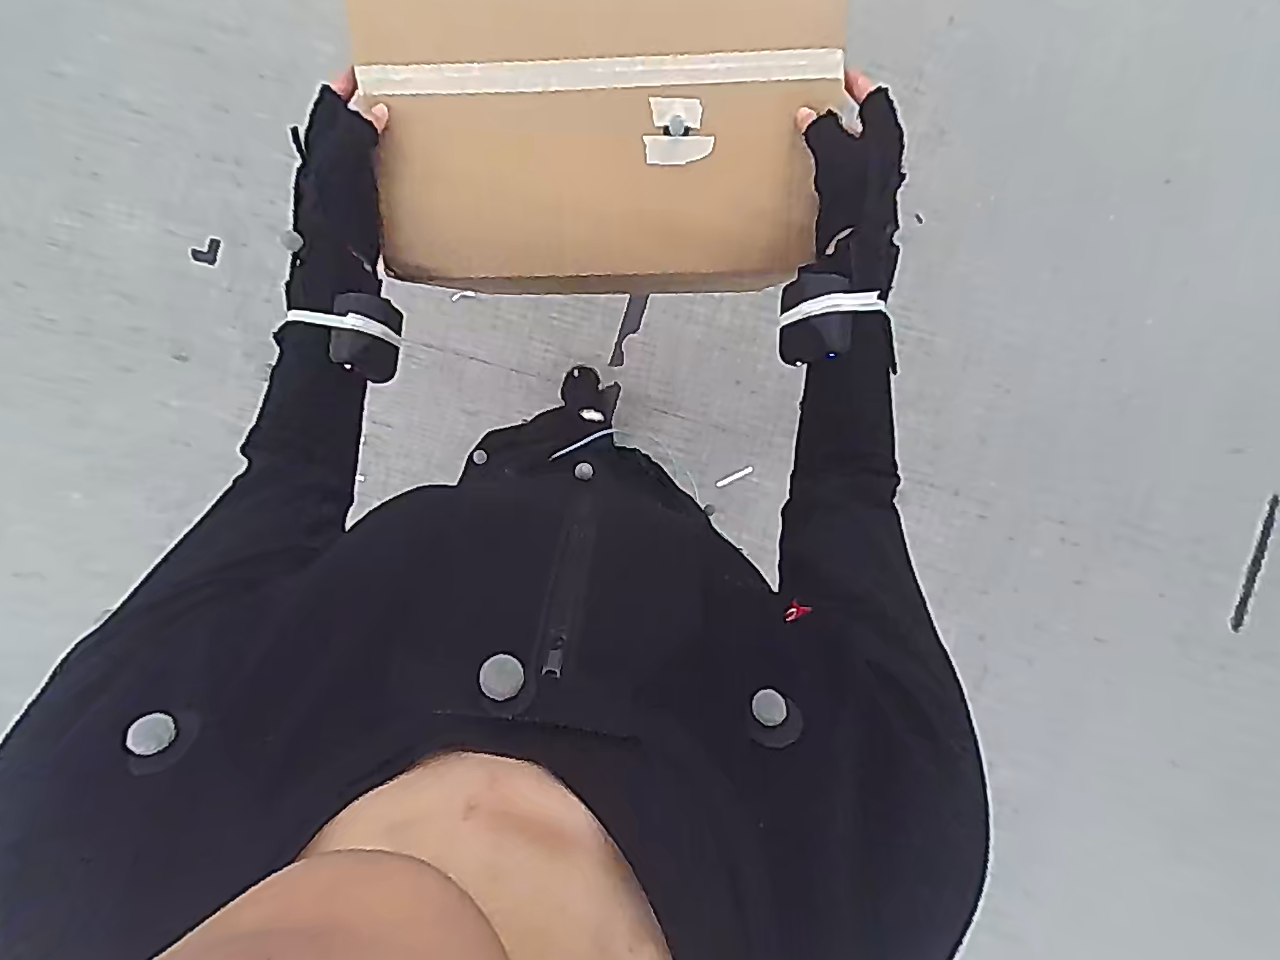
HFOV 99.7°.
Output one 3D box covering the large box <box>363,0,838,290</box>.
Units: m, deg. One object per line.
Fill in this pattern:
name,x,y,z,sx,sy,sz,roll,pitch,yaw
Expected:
large box,-0.032,-0.392,0.604,0.408,0.320,0.320,-1,106,1
